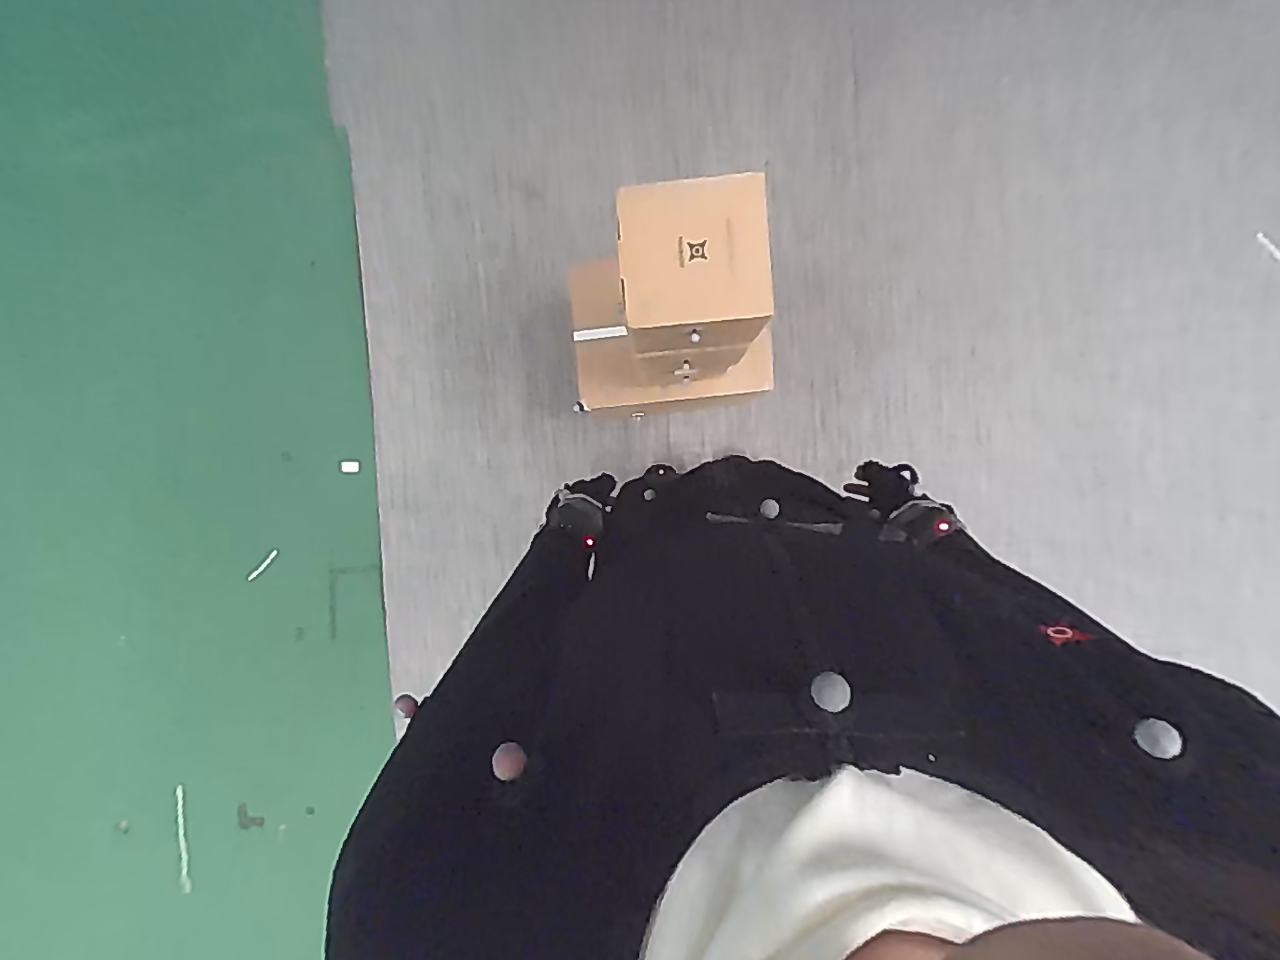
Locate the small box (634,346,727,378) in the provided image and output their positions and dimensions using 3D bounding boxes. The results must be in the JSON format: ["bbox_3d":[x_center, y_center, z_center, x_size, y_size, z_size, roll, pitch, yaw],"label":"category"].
[{"bbox_3d":[0.073,-0.294,1.033,0.168,0.176,0.179,-6,94,4],"label":"small box"}]

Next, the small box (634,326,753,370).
[{"bbox_3d":[0.072,-0.278,0.870,0.179,0.176,0.168,-8,93,3],"label":"small box"}]

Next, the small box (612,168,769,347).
[{"bbox_3d":[0.063,-0.276,0.708,0.179,0.176,0.168,-4,94,3],"label":"small box"}]
